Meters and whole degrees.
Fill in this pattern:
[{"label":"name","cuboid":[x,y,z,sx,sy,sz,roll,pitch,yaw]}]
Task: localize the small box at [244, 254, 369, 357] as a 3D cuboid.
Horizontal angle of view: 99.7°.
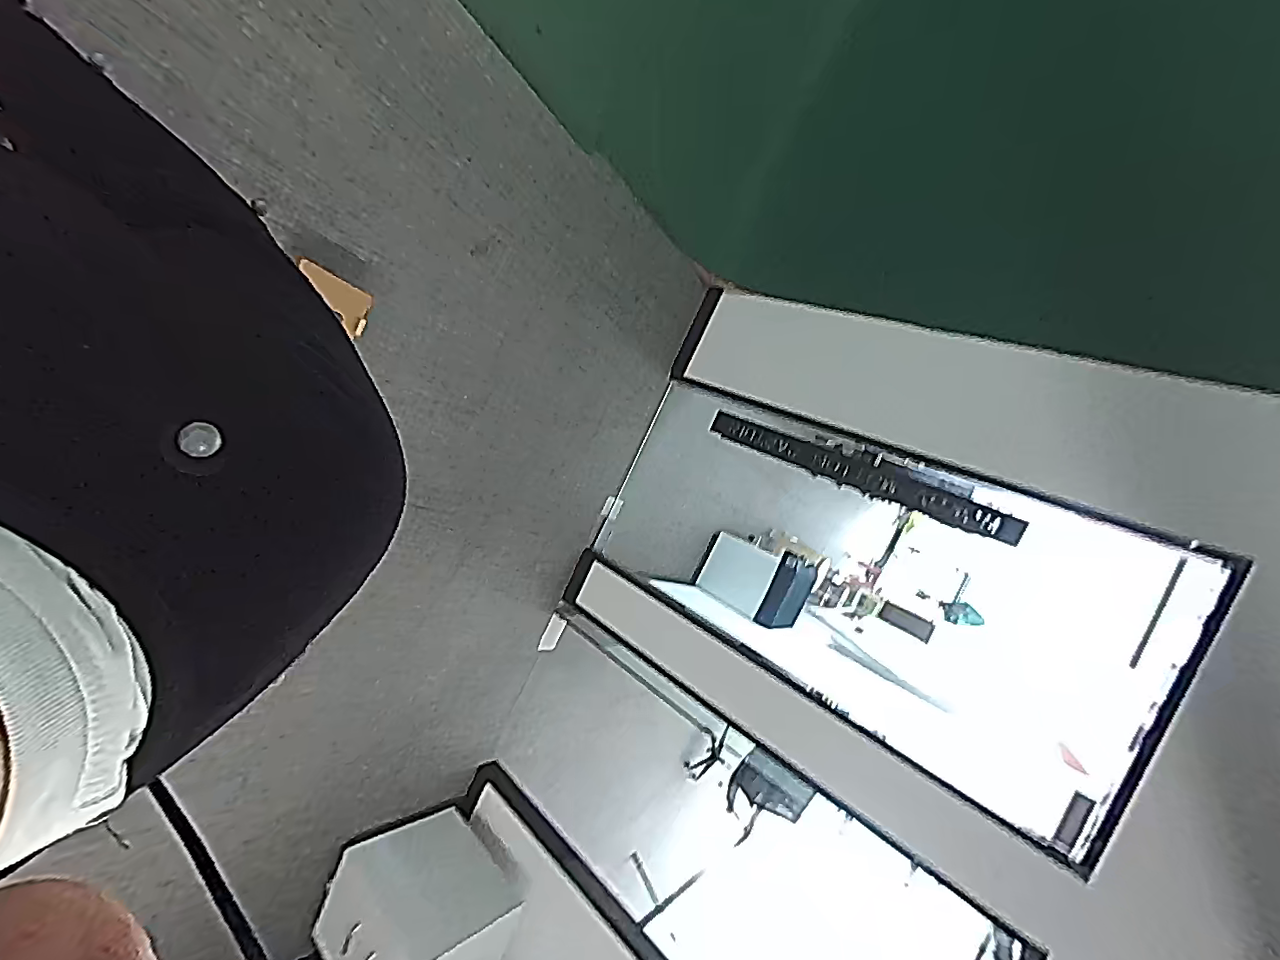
[{"label":"small box","cuboid":[-0.809,-0.426,1.311,0.179,0.176,0.168,30,85,-56]}]
